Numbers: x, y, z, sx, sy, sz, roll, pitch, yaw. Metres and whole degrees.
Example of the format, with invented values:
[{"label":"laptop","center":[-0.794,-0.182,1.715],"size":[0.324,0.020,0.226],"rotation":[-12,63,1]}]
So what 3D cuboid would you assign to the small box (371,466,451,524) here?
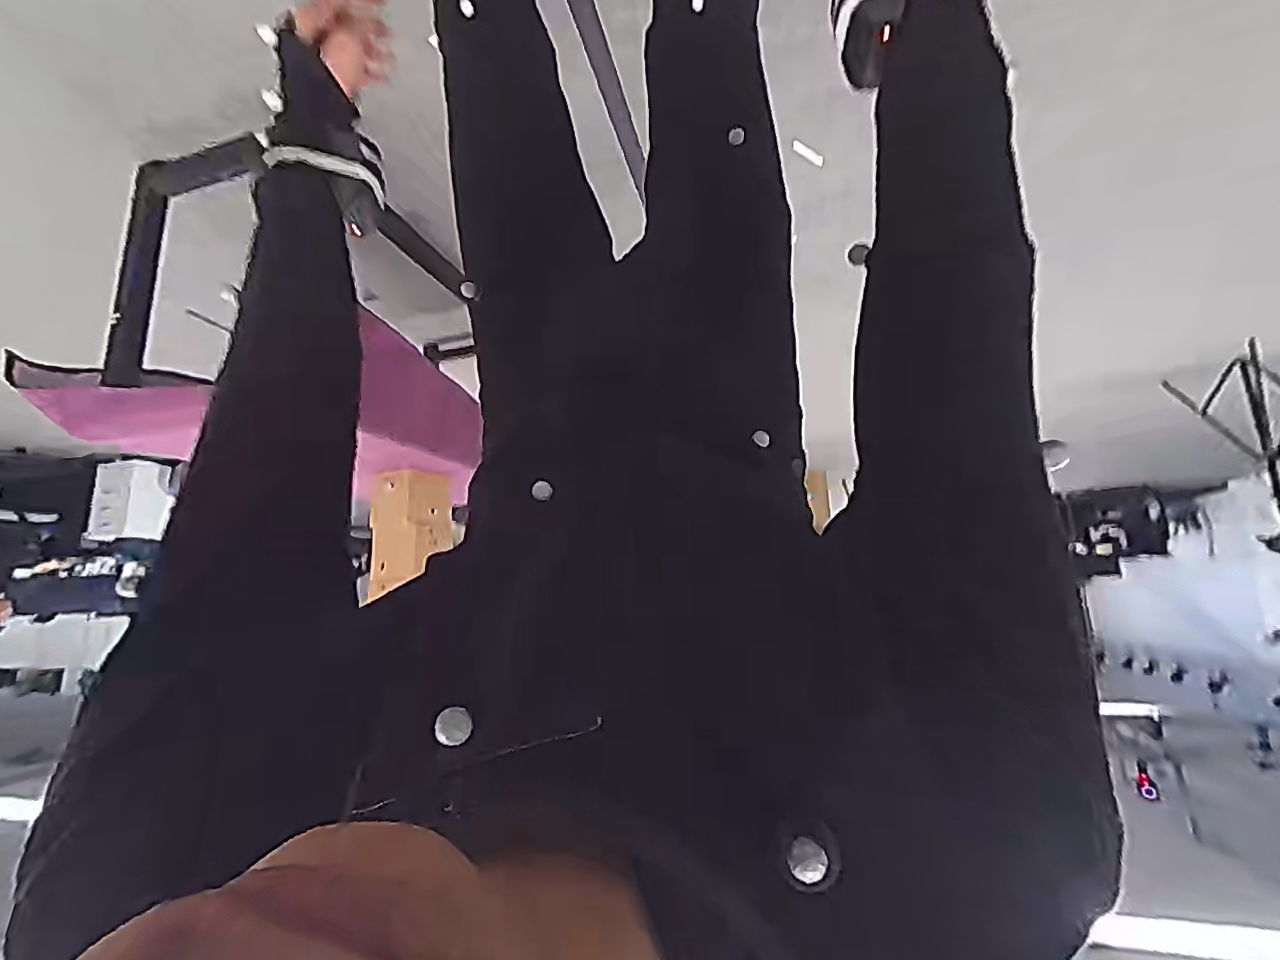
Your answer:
[{"label":"small box","center":[-0.718,0.055,1.712],"size":[0.168,0.176,0.179],"rotation":[-8,167,25]}]

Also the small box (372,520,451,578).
[{"label":"small box","center":[-0.713,0.221,1.704],"size":[0.179,0.176,0.168],"rotation":[-6,169,20]}]
